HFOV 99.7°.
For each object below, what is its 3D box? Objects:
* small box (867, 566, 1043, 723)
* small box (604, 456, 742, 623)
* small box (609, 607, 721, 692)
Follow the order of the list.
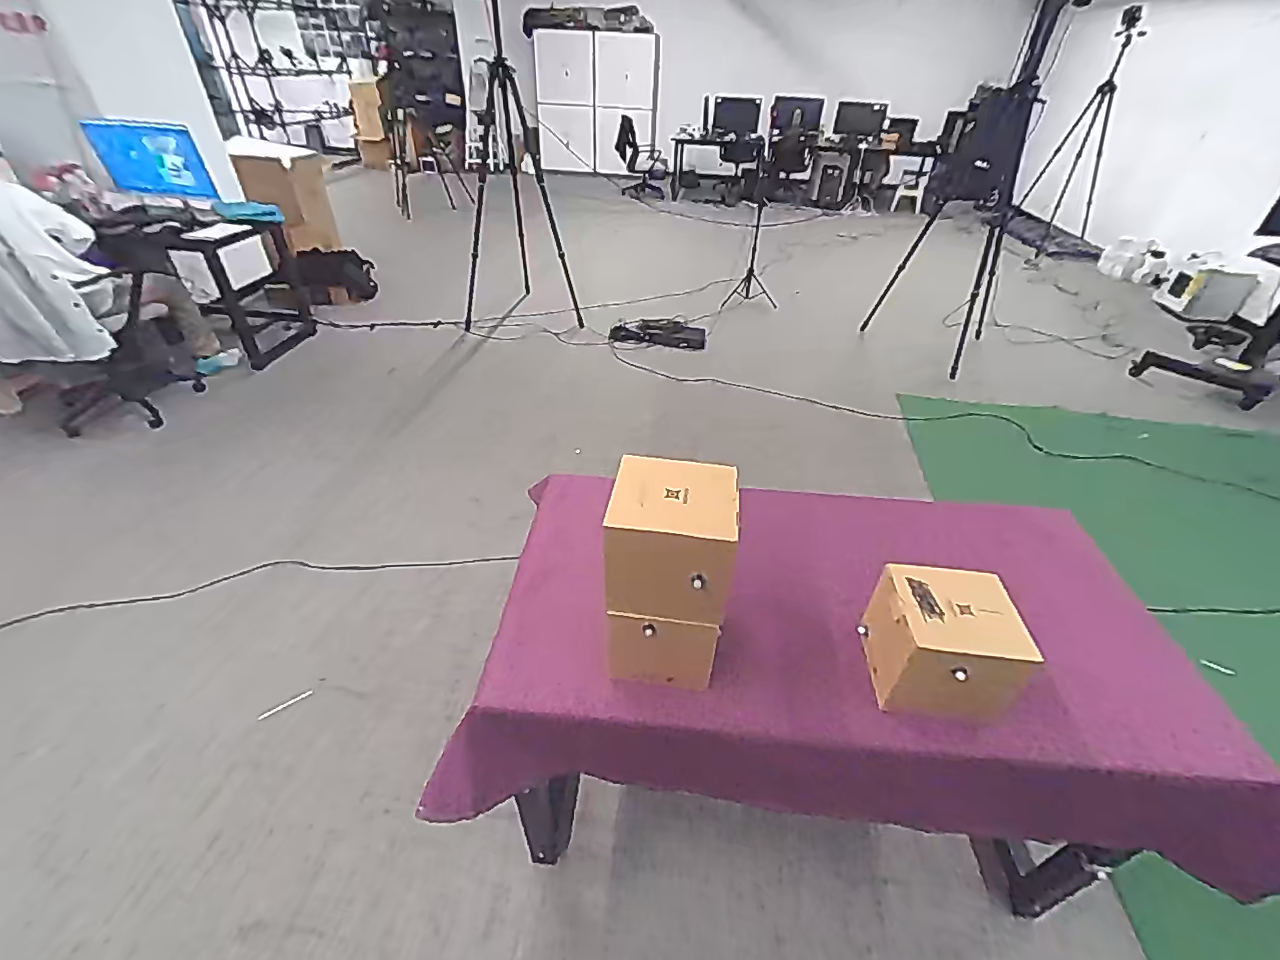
[{"bbox_3d":[0.476,0.261,0.856,0.179,0.176,0.168,6,38,4],"label":"small box"},{"bbox_3d":[0.049,0.088,0.793,0.179,0.176,0.168,6,37,6],"label":"small box"},{"bbox_3d":[0.044,0.218,0.893,0.168,0.176,0.179,6,37,6],"label":"small box"}]
